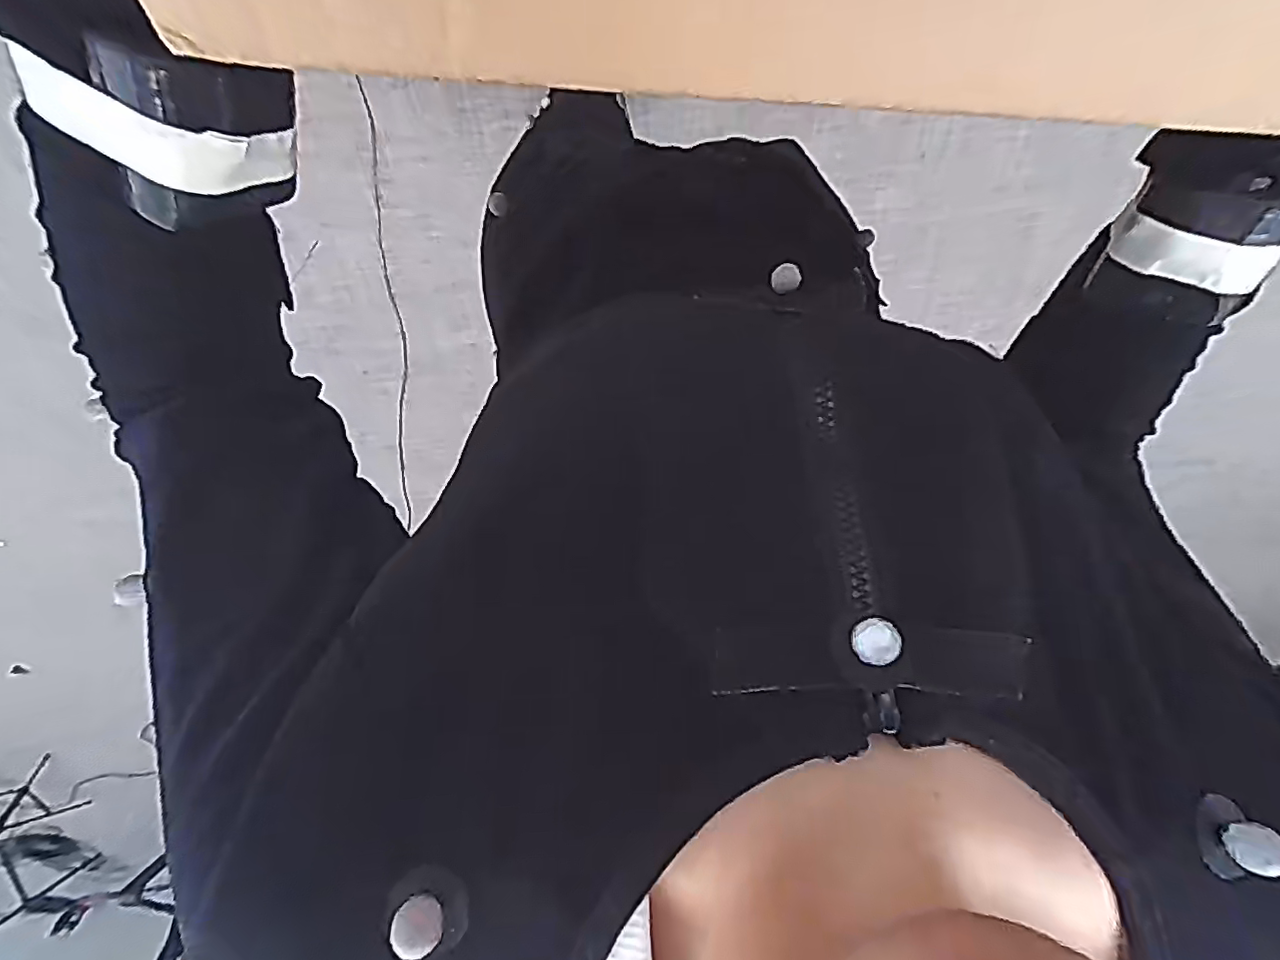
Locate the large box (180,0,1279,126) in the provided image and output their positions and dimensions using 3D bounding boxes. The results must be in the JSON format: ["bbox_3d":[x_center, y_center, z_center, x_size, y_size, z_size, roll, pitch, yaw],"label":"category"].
[{"bbox_3d":[0.058,-0.349,0.161,0.408,0.320,0.320,-2,143,-8],"label":"large box"}]
